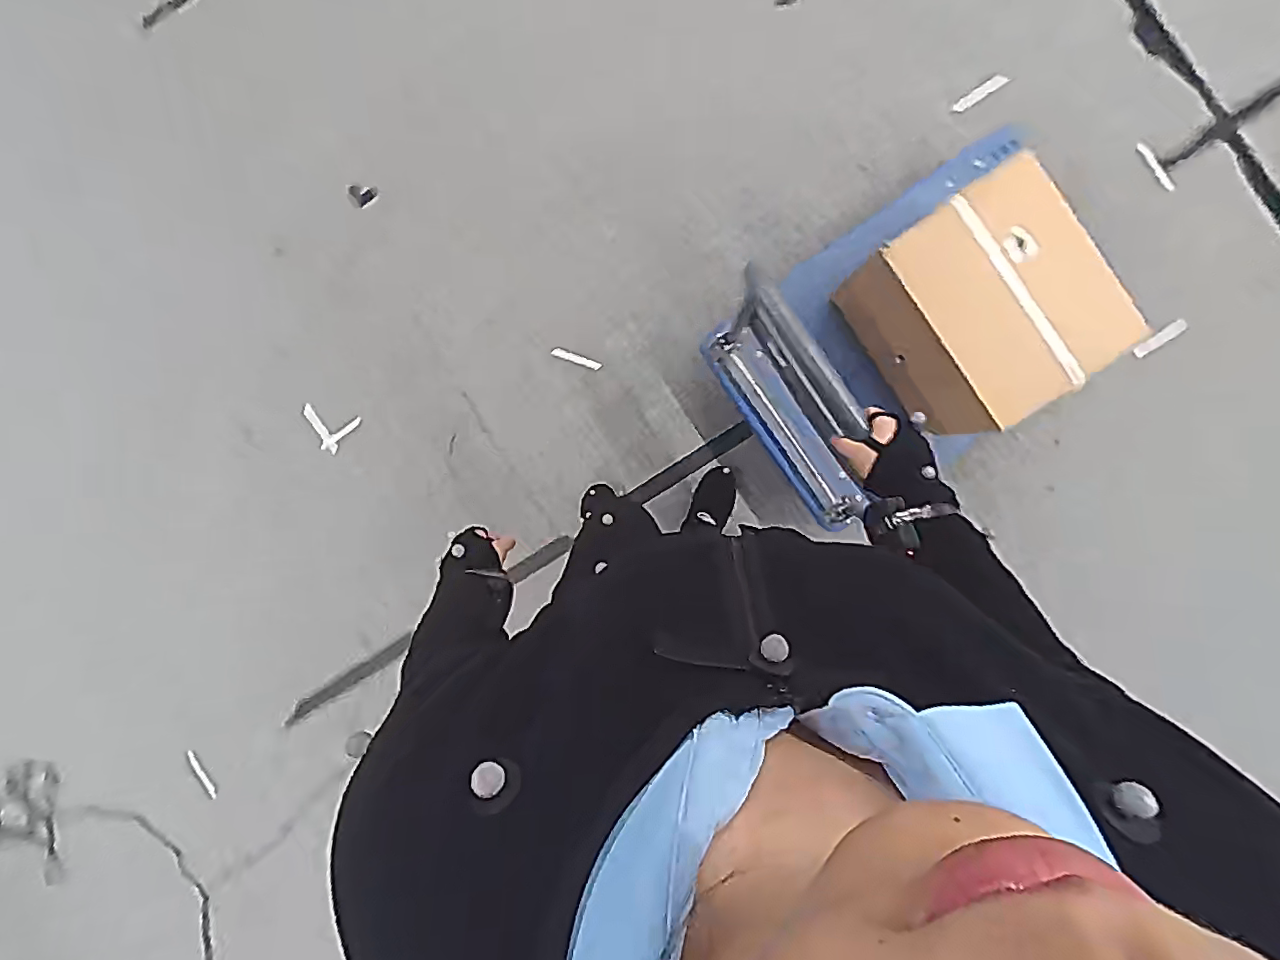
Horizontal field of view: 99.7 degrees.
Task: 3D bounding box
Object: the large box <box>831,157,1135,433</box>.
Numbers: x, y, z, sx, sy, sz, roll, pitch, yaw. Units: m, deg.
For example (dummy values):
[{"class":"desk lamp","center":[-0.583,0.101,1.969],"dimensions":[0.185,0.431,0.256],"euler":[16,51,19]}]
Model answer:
[{"class":"large box","center":[0.681,-0.352,1.146],"dimensions":[0.320,0.320,0.408],"euler":[-34,89,3]}]
